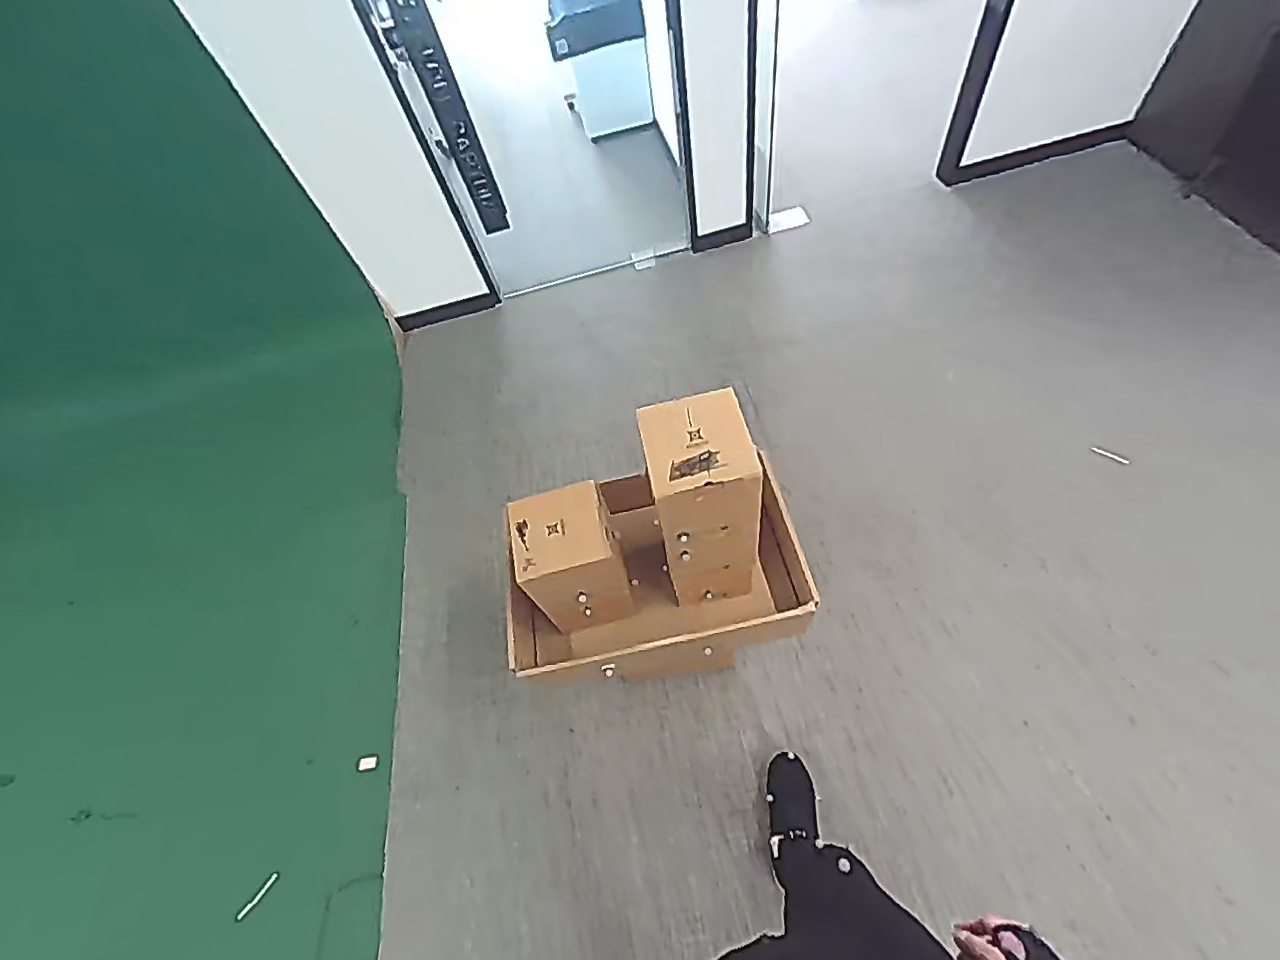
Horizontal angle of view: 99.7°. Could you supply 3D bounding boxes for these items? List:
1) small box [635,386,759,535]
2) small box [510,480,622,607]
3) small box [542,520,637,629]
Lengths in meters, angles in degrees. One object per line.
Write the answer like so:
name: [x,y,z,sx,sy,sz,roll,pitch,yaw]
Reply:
small box: [0.096,-0.022,0.900,0.168,0.176,0.179,-12,56,2]
small box: [-0.136,0.127,1.044,0.179,0.176,0.168,-15,57,0]
small box: [-0.113,0.212,1.182,0.179,0.176,0.168,-13,57,0]
